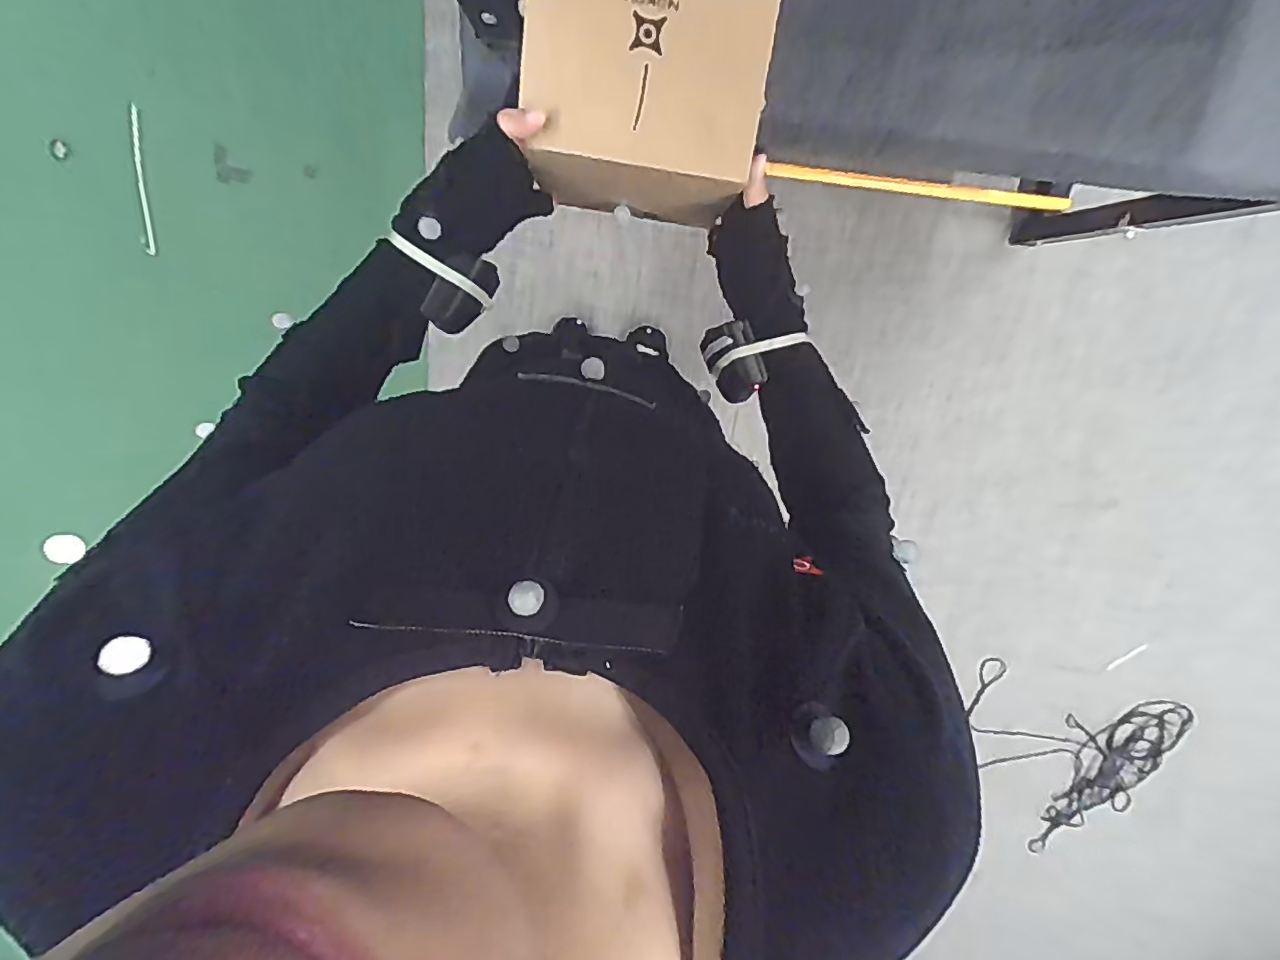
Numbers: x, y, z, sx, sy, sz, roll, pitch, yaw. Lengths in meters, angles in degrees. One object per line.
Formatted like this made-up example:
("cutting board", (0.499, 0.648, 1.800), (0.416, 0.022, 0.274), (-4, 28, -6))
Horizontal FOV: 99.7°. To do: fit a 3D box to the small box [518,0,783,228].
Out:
("small box", (0.006, -0.322, 0.432), (0.168, 0.176, 0.179), (8, 105, -4))
